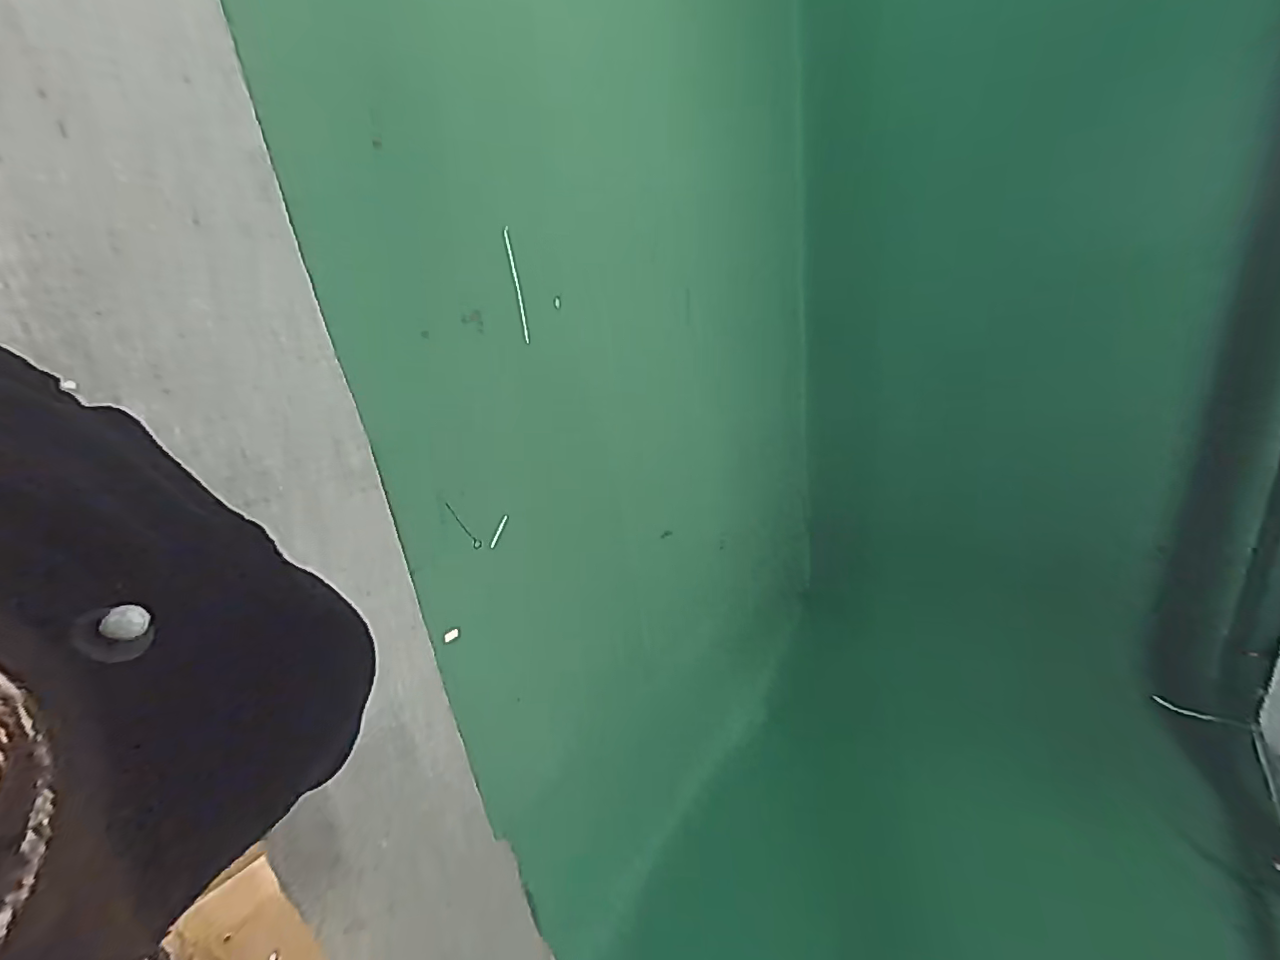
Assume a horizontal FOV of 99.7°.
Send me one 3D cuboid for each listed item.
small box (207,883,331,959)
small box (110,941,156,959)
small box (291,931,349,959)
[{"bbox_3d":[-0.740,0.987,1.107,0.168,0.176,0.179,-29,121,-47],"label":"small box"},{"bbox_3d":[-0.890,0.944,0.899,0.179,0.176,0.168,-31,122,-46],"label":"small box"},{"bbox_3d":[-0.612,1.007,1.003,0.179,0.176,0.168,-31,121,-47],"label":"small box"}]
